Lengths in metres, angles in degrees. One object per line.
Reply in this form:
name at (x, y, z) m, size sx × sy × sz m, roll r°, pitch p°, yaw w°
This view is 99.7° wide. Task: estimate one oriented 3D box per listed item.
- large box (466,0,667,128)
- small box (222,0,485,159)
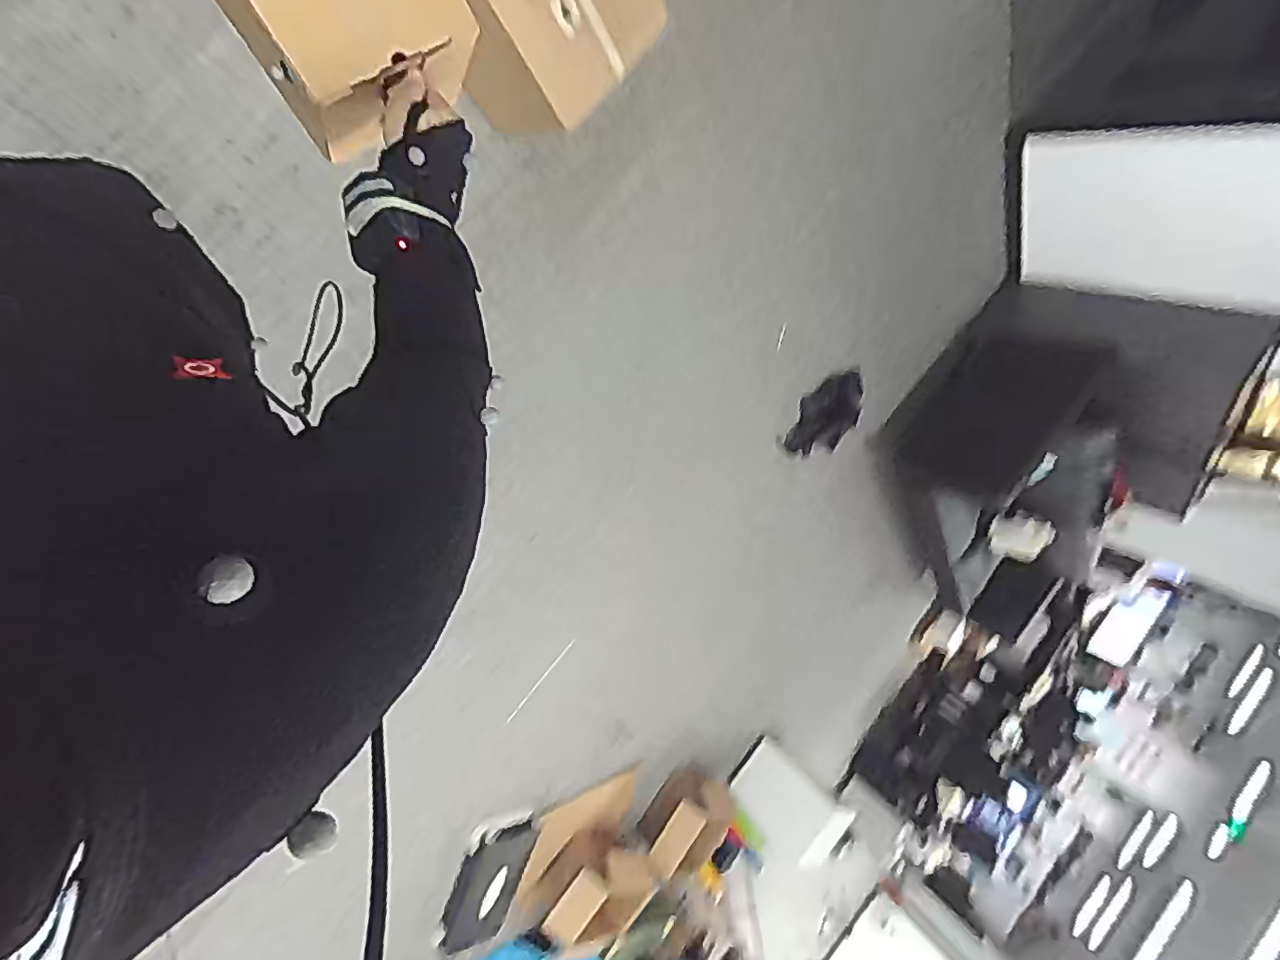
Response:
large box at (-0.229, -0.940, 0.989) m, size 0.320 × 0.320 × 0.408 m, roll -49°, pitch 137°, yaw -5°
small box at (-0.280, -0.446, 0.512) m, size 0.168 × 0.176 × 0.179 m, roll -38°, pitch 117°, yaw -15°
